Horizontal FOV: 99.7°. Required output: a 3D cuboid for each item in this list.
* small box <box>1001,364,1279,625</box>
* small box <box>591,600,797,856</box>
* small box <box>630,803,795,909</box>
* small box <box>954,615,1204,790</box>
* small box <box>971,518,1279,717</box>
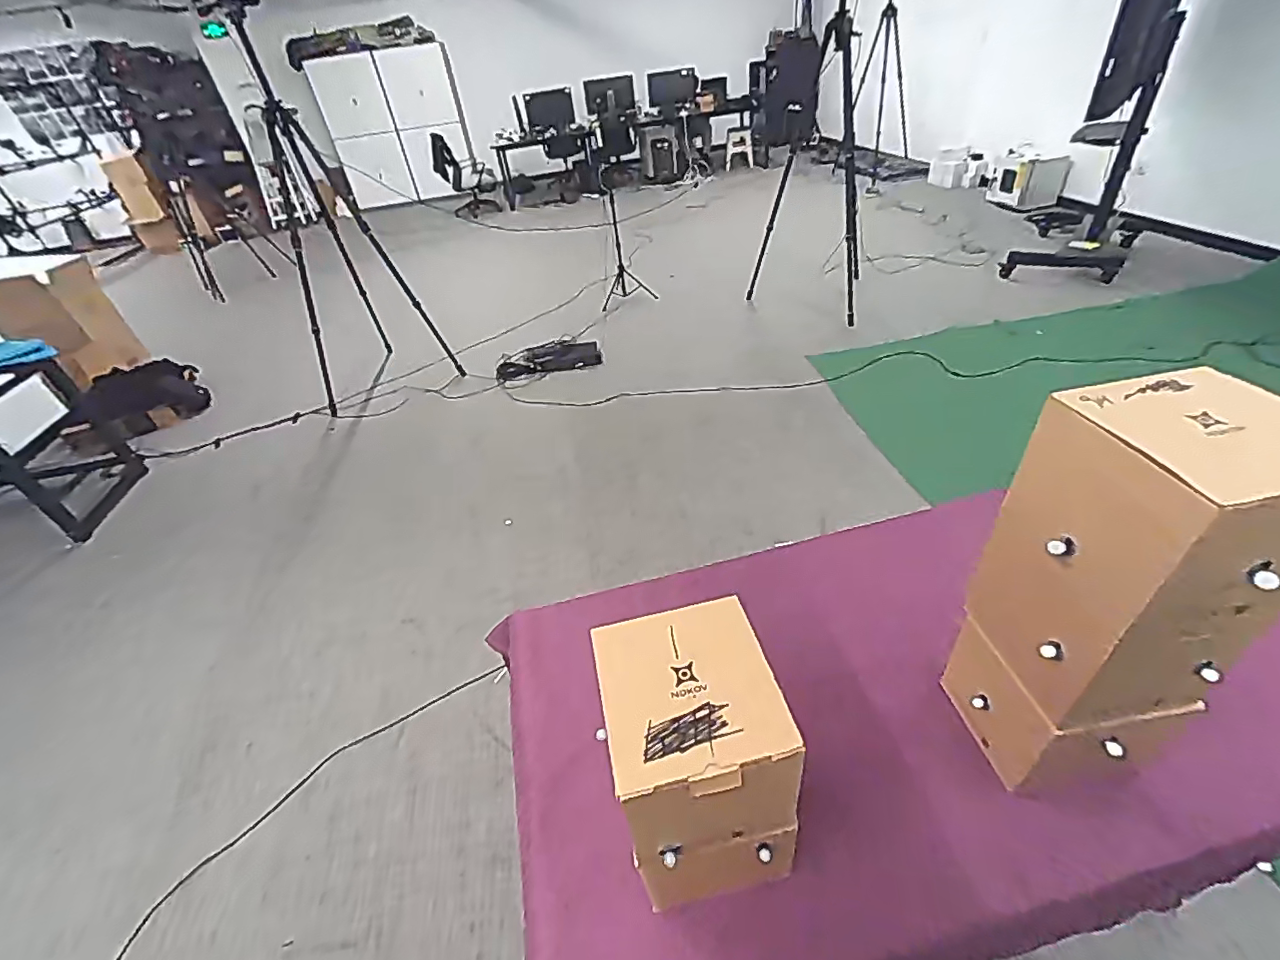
[{"bbox_3d":[0.489,0.017,0.508,0.168,0.176,0.179,-10,39,-2],"label":"small box"},{"bbox_3d":[0.053,0.262,0.568,0.168,0.176,0.179,-13,37,-5],"label":"small box"},{"bbox_3d":[0.077,0.391,0.666,0.179,0.176,0.168,-12,38,-4],"label":"small box"},{"bbox_3d":[0.539,0.276,0.702,0.179,0.176,0.168,-10,39,0],"label":"small box"},{"bbox_3d":[0.515,0.144,0.609,0.168,0.176,0.179,-10,37,-1],"label":"small box"}]
